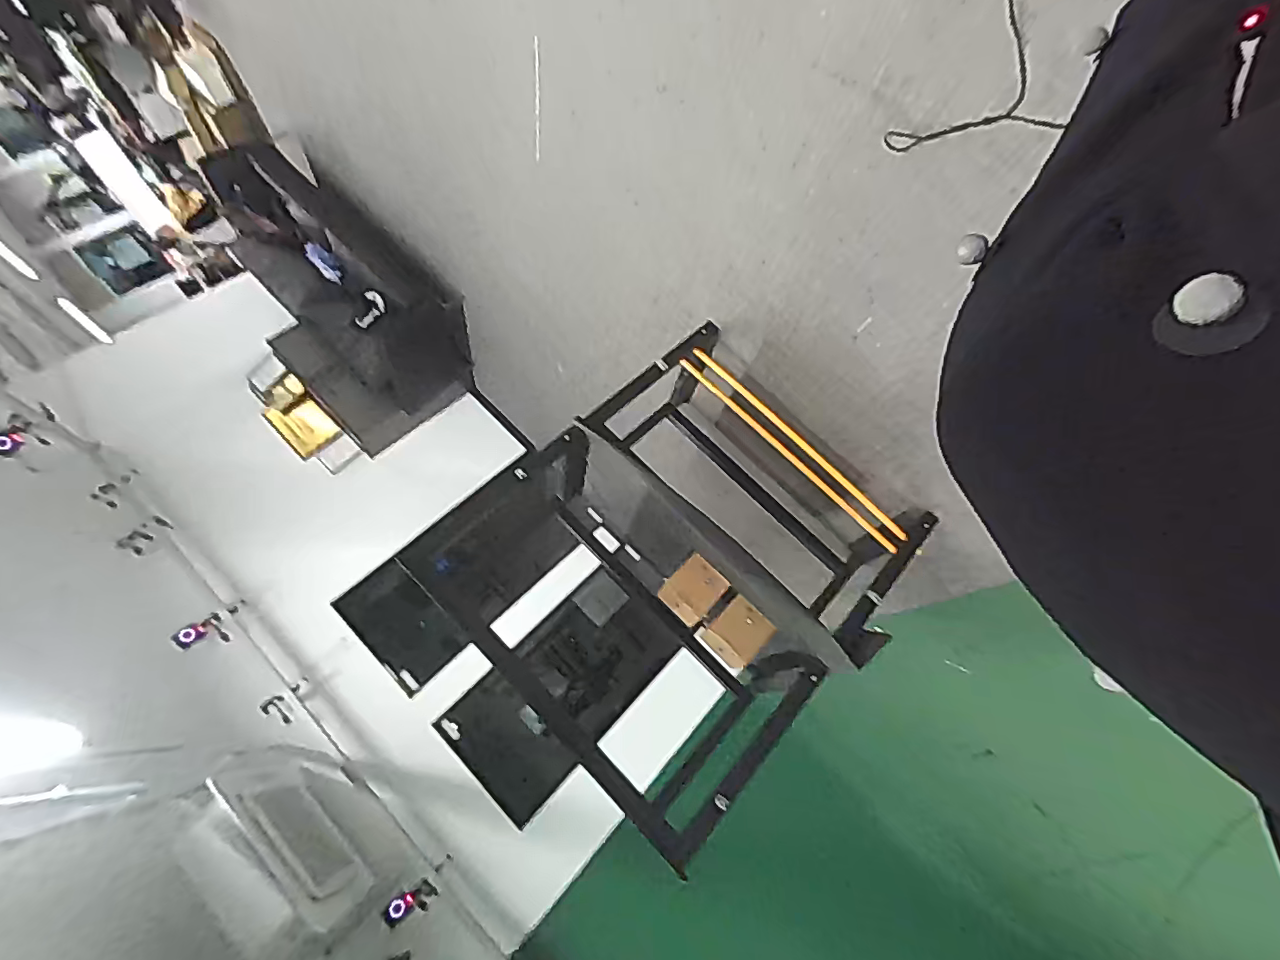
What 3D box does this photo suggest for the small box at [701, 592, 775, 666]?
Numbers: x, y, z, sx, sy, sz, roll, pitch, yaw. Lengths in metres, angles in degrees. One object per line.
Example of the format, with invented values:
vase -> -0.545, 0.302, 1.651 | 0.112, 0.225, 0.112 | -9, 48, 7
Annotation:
small box -> 0.339, 0.515, 1.869 | 0.168, 0.176, 0.179 | 43, 156, 12

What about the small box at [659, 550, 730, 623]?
small box -> 0.194, 0.379, 1.915 | 0.168, 0.176, 0.179 | 42, 156, 12
